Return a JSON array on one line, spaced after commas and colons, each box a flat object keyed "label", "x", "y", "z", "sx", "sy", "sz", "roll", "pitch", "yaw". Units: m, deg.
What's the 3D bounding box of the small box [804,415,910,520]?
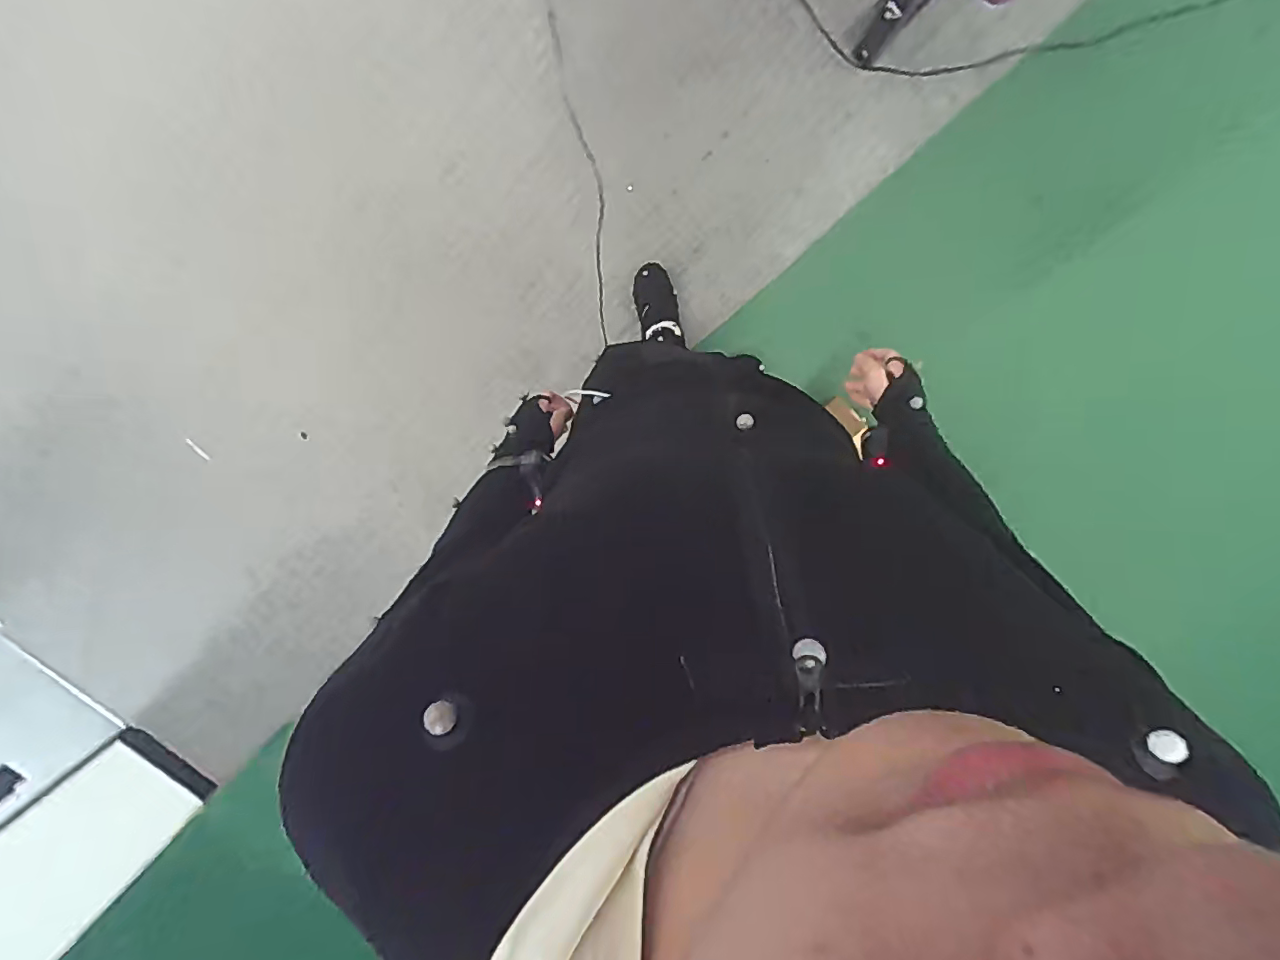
[{"label": "small box", "x": 0.532, "y": -0.037, "z": 1.356, "sx": 0.168, "sy": 0.176, "sz": 0.179, "roll": 45, "pitch": 109, "yaw": -9}]

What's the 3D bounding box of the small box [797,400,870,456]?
[{"label": "small box", "x": 0.555, "y": -0.097, "z": 1.505, "sx": 0.179, "sy": 0.176, "sz": 0.168, "roll": -39, "pitch": 101, "yaw": 18}]
